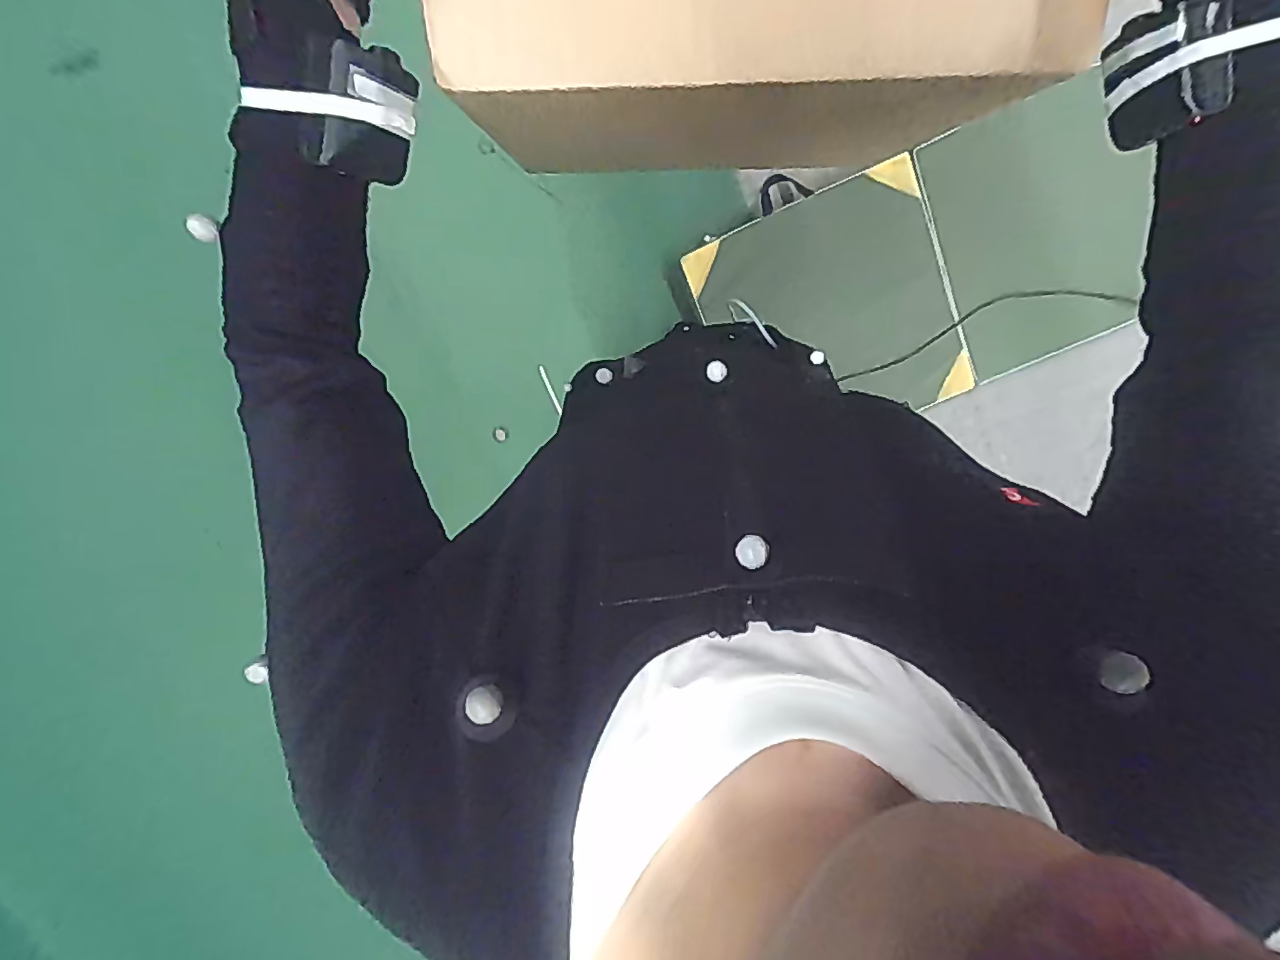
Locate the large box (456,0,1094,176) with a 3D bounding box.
[{"bbox_3d":[0.075,-0.450,0.432,0.408,0.320,0.320,-2,111,-1],"label":"large box"}]
